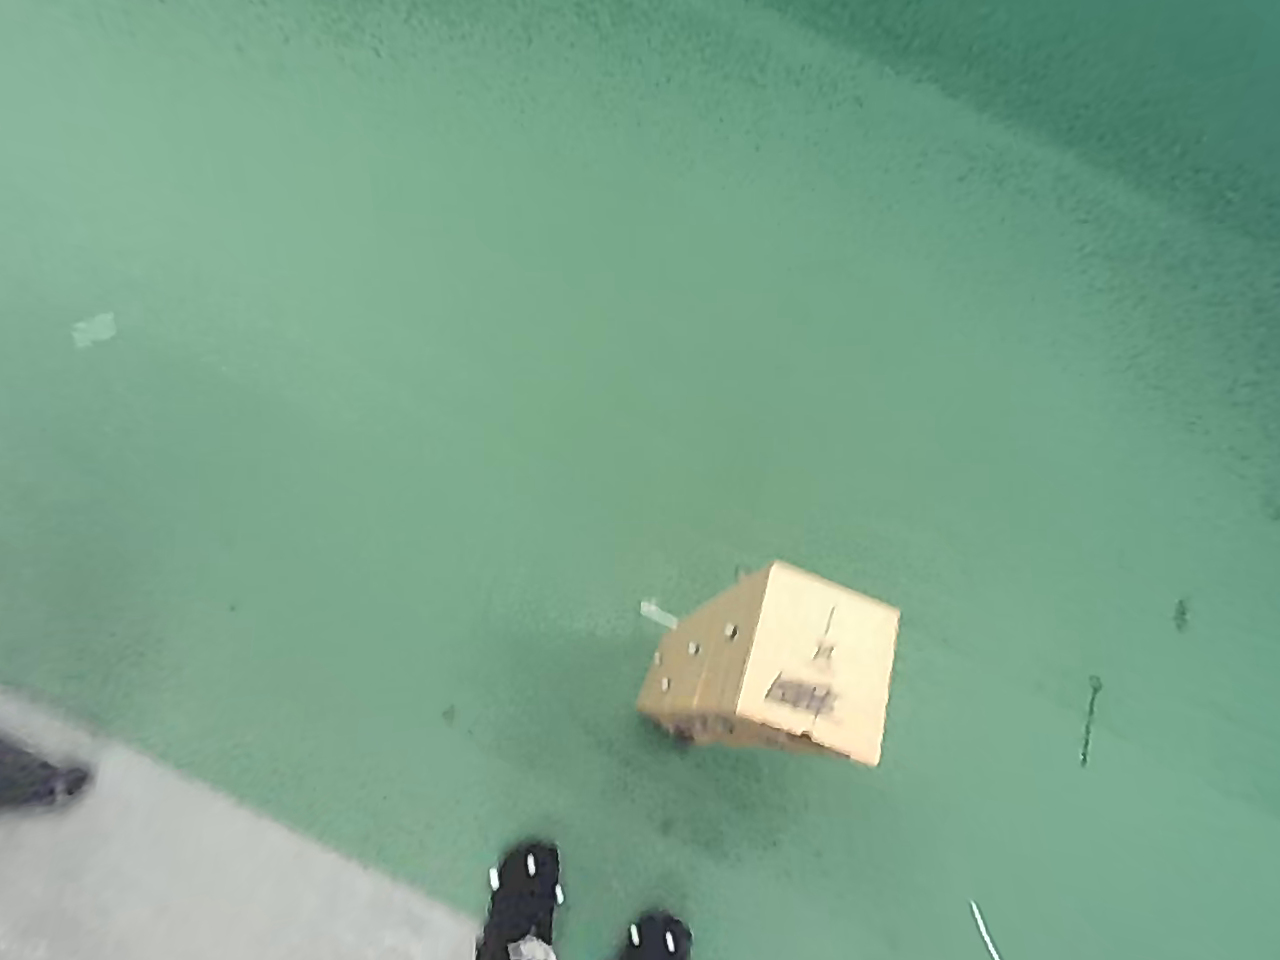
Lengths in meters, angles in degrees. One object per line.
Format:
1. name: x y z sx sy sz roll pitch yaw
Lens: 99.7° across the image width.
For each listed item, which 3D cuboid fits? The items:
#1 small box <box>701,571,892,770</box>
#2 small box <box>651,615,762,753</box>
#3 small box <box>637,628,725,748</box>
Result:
1. small box: 0.187 0.238 0.681 0.168 0.176 0.179 19 66 -3
2. small box: 0.132 0.368 0.978 0.168 0.176 0.179 23 65 -1
3. small box: 0.105 0.433 1.124 0.168 0.176 0.179 24 64 1
